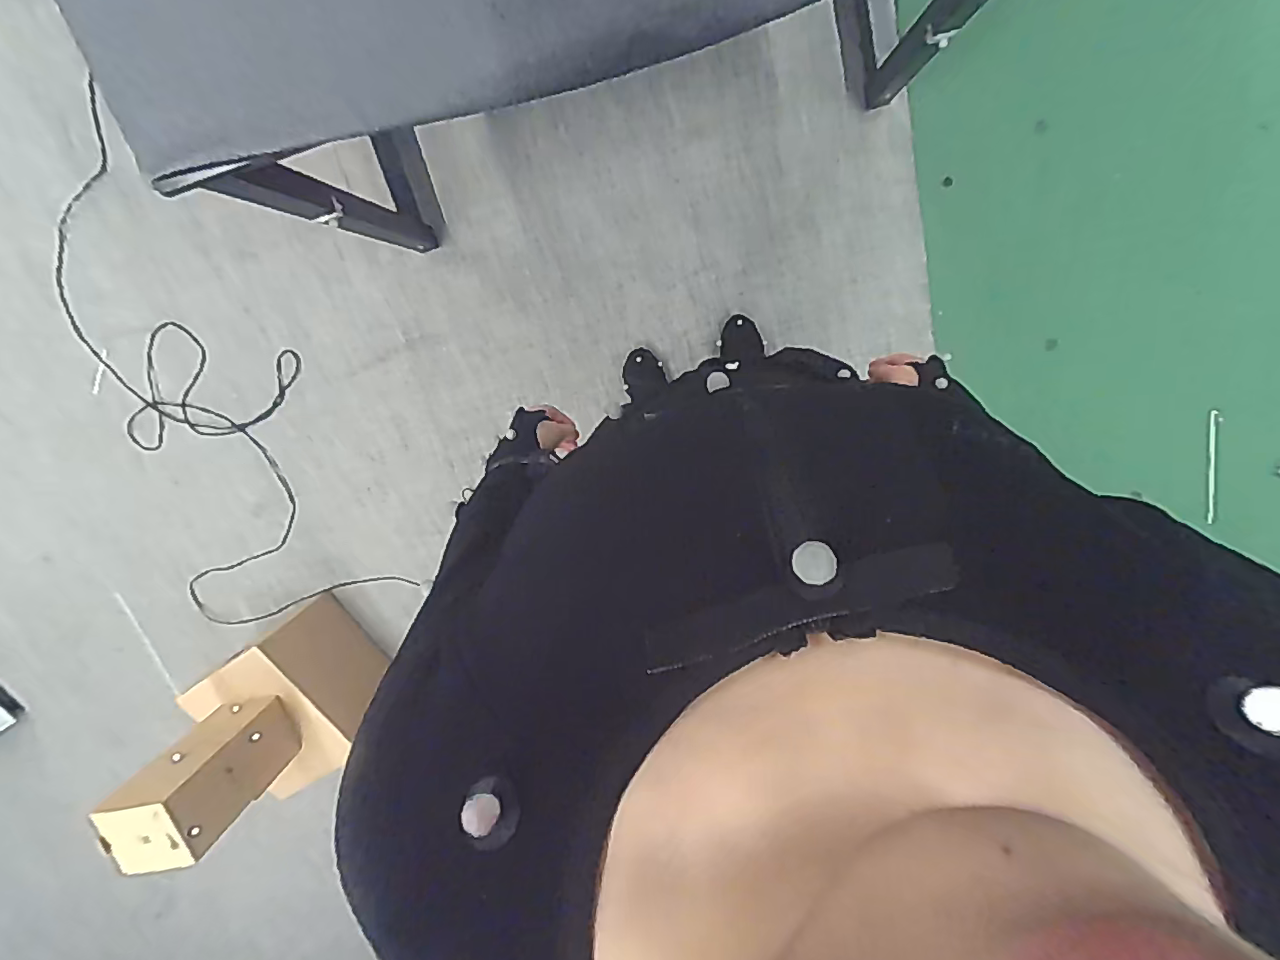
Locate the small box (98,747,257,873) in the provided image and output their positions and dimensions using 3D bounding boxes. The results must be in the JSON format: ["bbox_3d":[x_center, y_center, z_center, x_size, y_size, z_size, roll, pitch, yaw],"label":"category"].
[{"bbox_3d":[-1.011,0.724,1.198,0.179,0.176,0.168,-12,105,8],"label":"small box"}]
